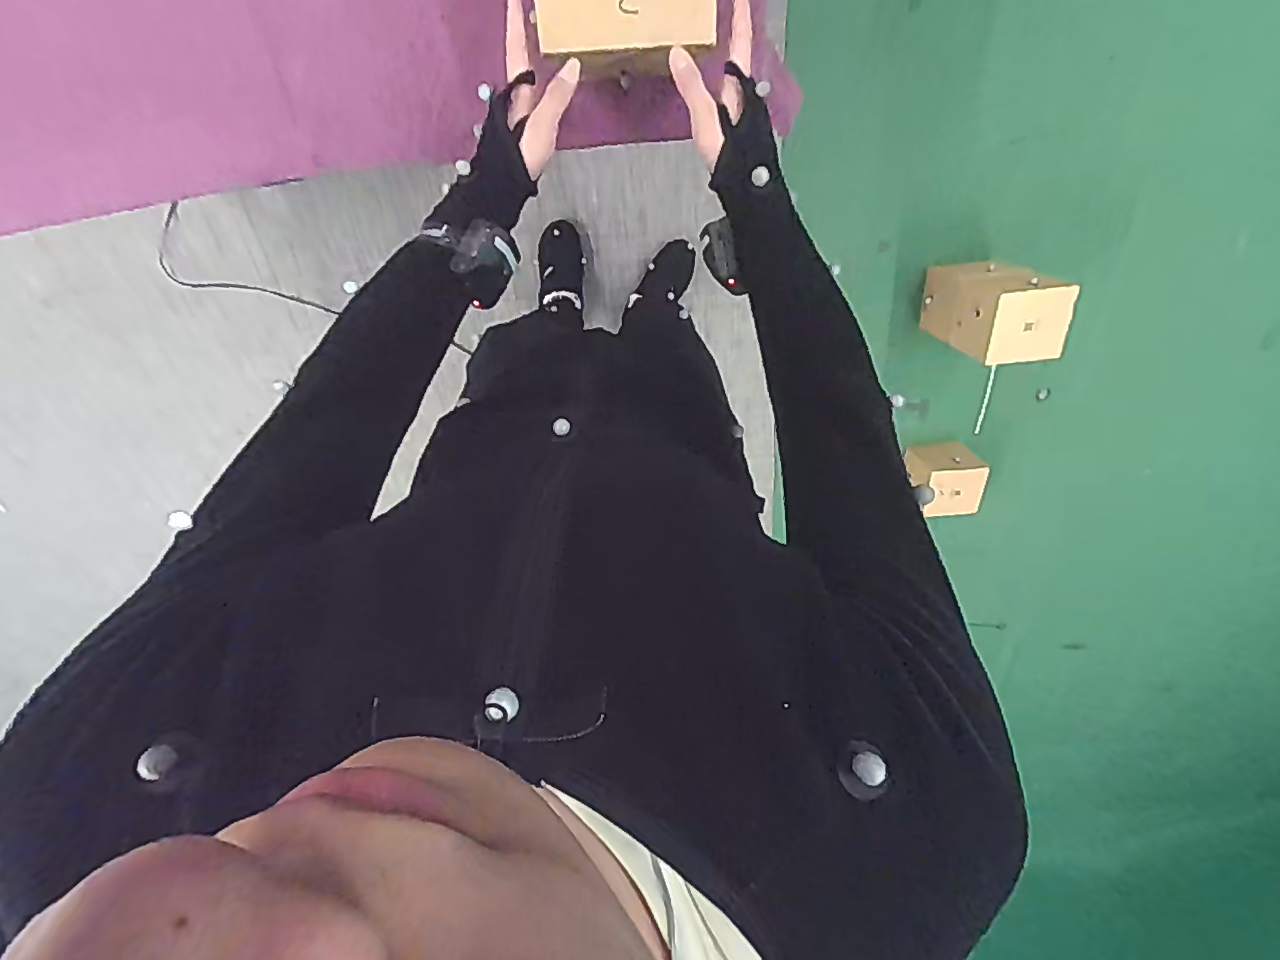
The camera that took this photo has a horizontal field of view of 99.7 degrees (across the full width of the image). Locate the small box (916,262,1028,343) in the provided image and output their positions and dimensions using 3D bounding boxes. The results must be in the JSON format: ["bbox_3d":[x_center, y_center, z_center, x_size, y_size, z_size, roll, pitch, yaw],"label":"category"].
[{"bbox_3d":[0.867,-0.473,1.430,0.179,0.176,0.168,-5,120,2],"label":"small box"}]

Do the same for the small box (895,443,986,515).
[{"bbox_3d":[0.941,-0.007,1.709,0.179,0.176,0.168,-4,121,0],"label":"small box"}]

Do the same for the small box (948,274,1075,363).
[{"bbox_3d":[0.873,-0.389,1.292,0.179,0.176,0.168,-7,120,1],"label":"small box"}]
